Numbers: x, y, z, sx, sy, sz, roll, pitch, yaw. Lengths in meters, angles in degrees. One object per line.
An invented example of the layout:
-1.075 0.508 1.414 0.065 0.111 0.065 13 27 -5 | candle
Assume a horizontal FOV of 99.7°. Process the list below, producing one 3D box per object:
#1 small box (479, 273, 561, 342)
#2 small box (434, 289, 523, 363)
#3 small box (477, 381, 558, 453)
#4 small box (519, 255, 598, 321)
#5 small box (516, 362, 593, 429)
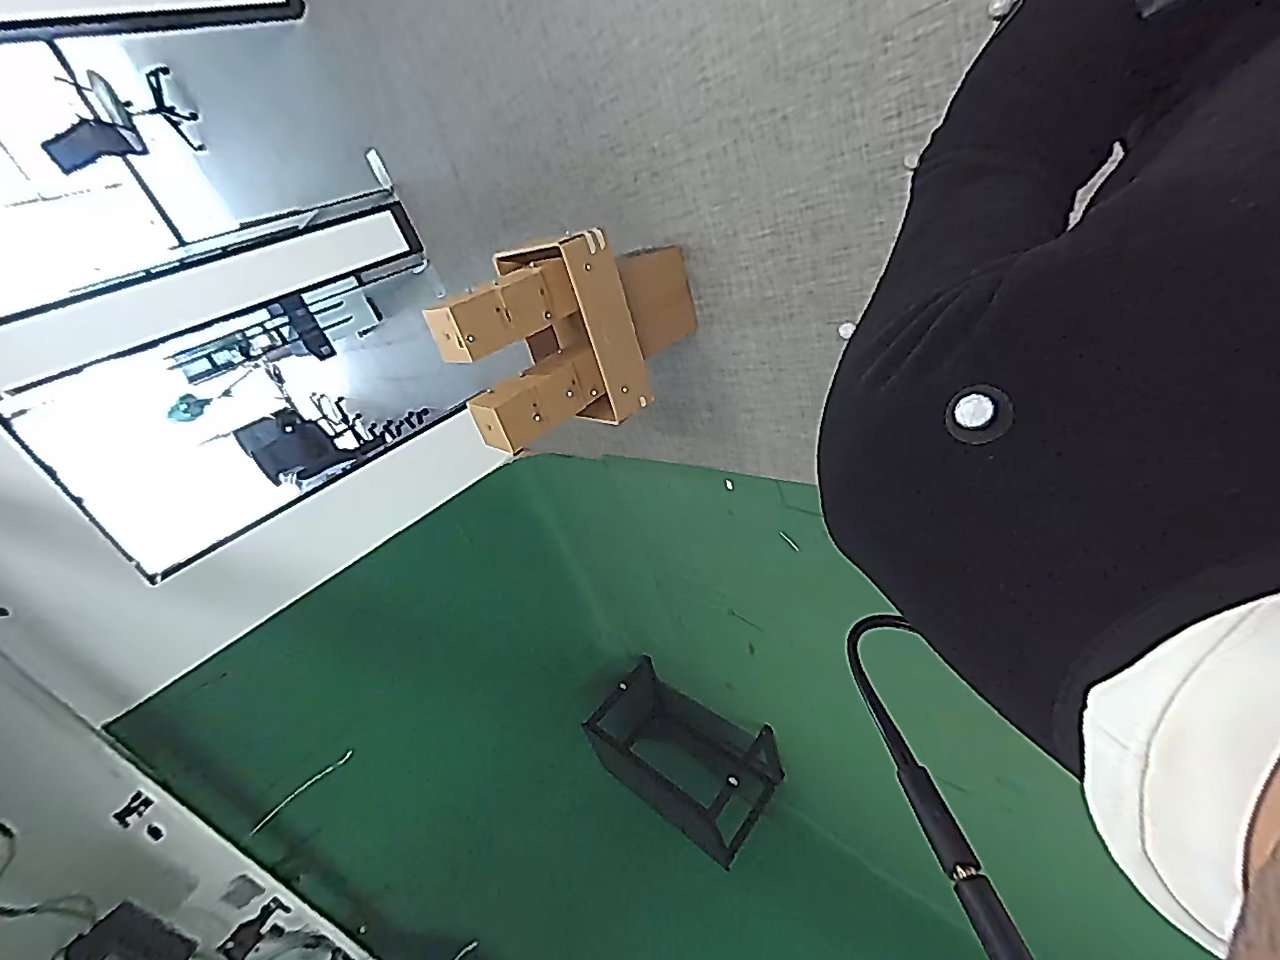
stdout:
-0.374 -0.553 1.728 0.179 0.176 0.168 16 133 43 | small box
-0.487 -0.468 1.644 0.179 0.176 0.168 13 132 45 | small box
-0.402 -0.215 1.792 0.179 0.176 0.168 17 135 43 | small box
-0.270 -0.643 1.819 0.179 0.176 0.168 14 132 43 | small box
-0.294 -0.300 1.878 0.179 0.176 0.168 17 135 42 | small box
